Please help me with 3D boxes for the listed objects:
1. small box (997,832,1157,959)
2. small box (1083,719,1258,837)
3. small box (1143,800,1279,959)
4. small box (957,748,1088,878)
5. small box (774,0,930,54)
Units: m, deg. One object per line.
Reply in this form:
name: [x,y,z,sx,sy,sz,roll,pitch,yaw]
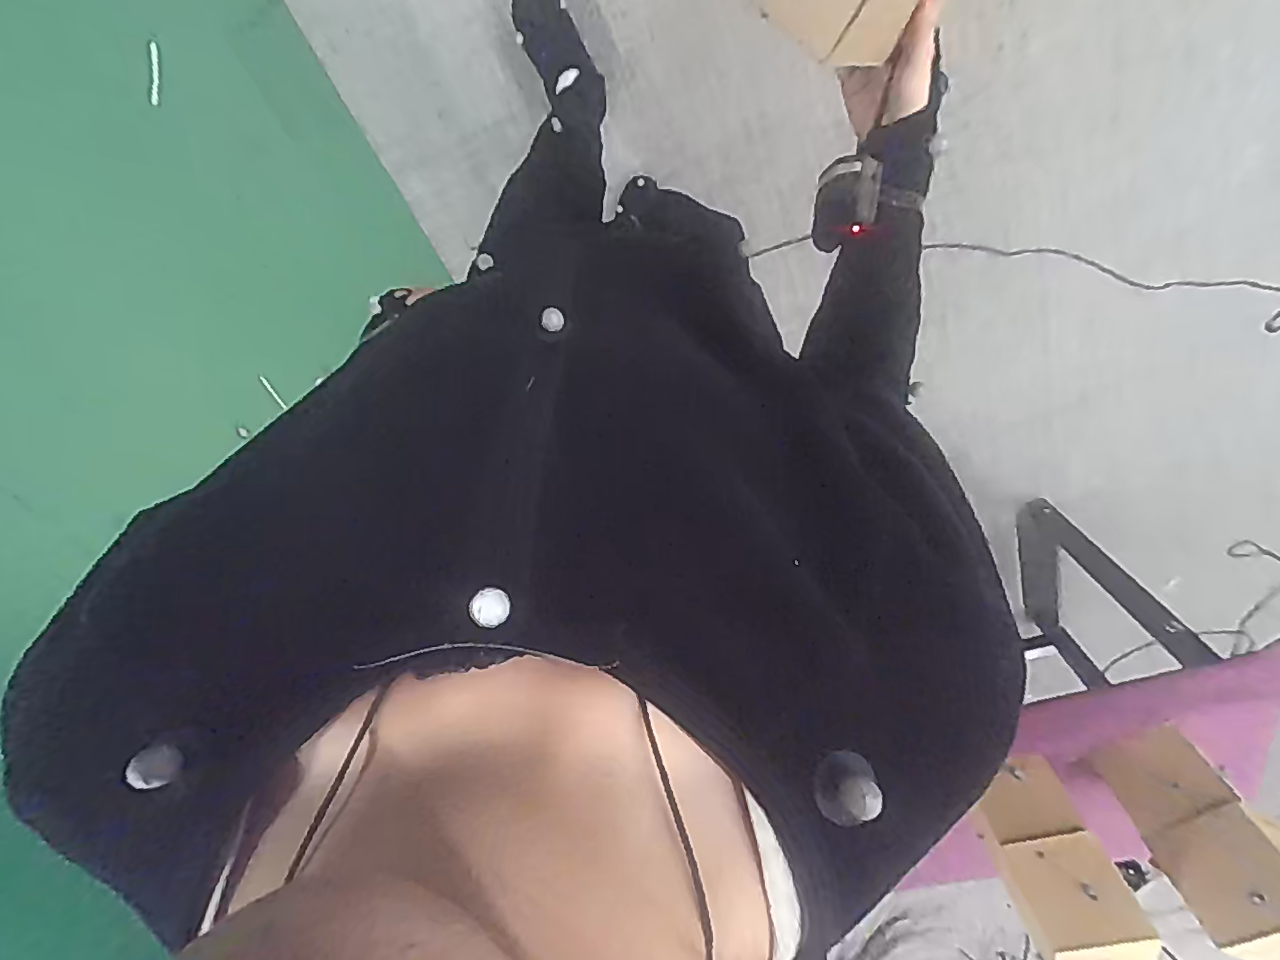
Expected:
small box: [0.788,0.775,0.996,0.168,0.176,0.179,-20,122,11]
small box: [1.057,0.613,1.082,0.168,0.176,0.179,38,115,-21]
small box: [1.051,0.688,0.934,0.168,0.176,0.179,27,120,-15]
small box: [0.797,0.701,1.142,0.168,0.176,0.179,-19,120,11]
small box: [0.135,-0.410,0.330,0.176,0.168,0.179,44,138,6]
